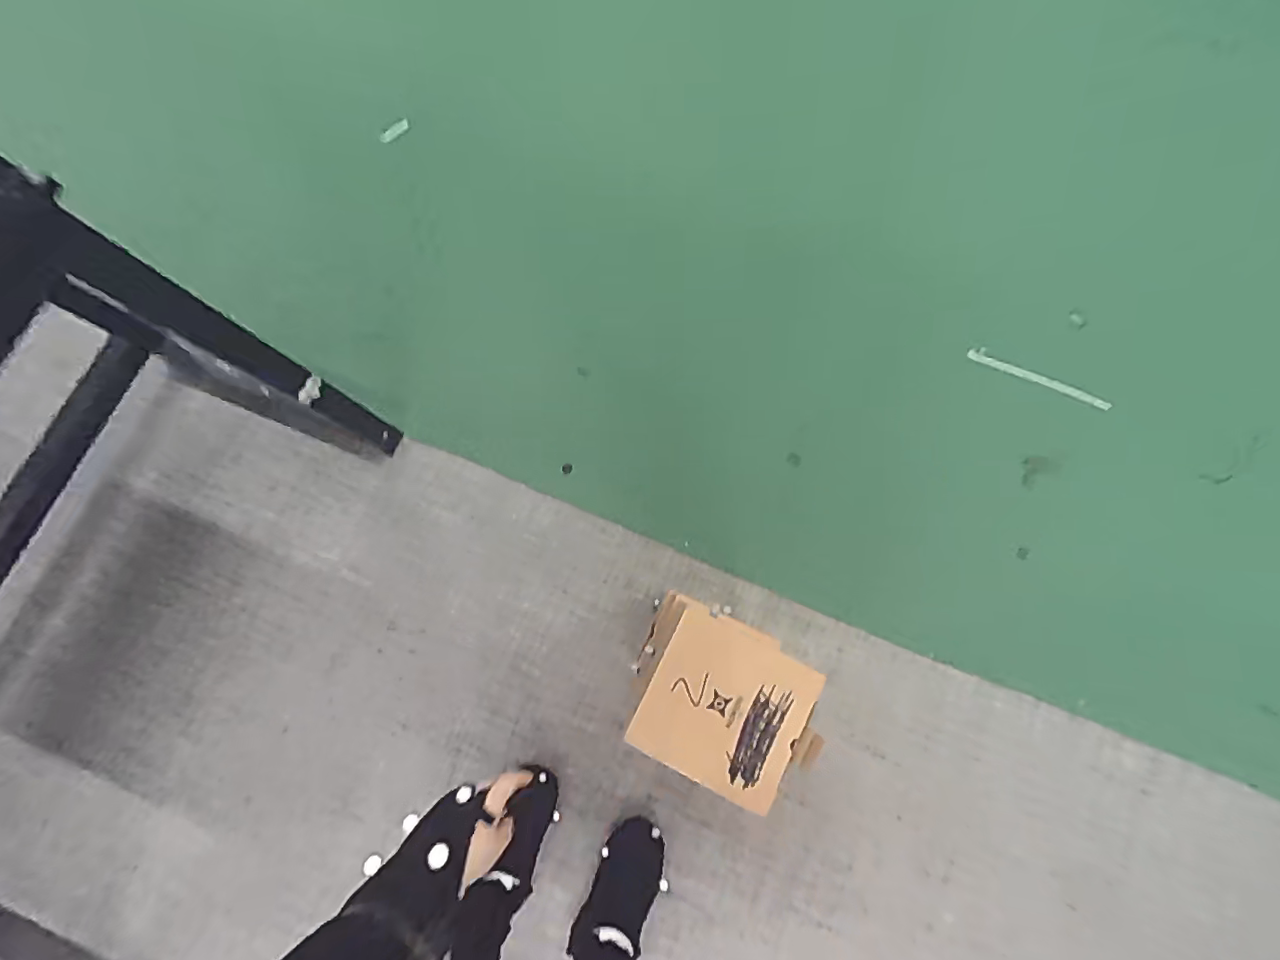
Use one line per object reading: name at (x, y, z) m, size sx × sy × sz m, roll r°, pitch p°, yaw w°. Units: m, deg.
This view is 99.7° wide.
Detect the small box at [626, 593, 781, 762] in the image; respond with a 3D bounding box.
small box at (0.091, 0.287, 0.826) m, size 0.168 × 0.176 × 0.179 m, roll 24°, pitch 79°, yaw 4°
